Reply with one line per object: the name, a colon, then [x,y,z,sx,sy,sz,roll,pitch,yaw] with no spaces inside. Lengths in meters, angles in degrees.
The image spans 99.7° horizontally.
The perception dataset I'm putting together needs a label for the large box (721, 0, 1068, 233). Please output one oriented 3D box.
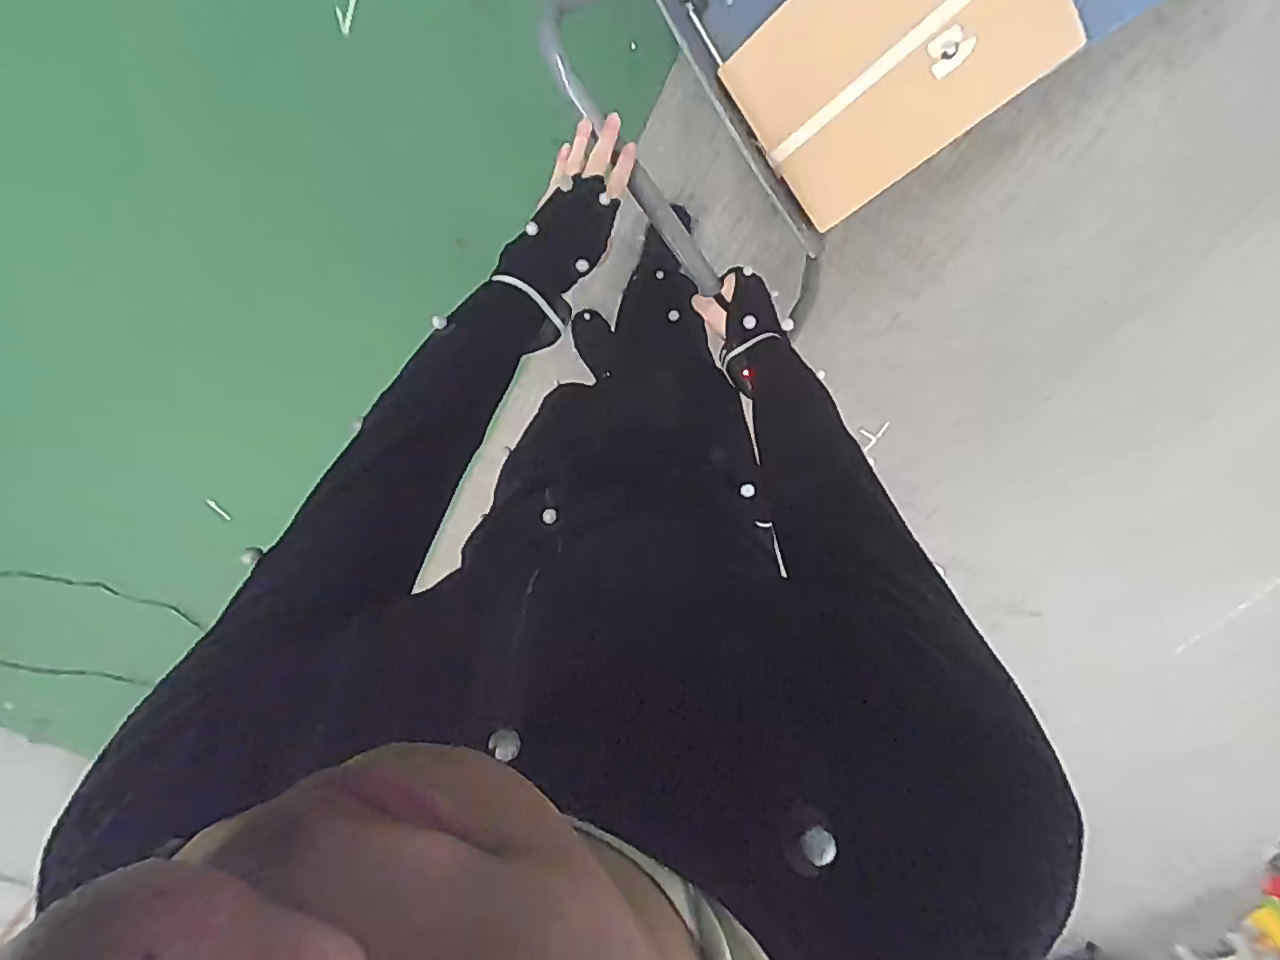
large box: [0.403,-0.717,0.934,0.408,0.320,0.320,-28,116,33]
